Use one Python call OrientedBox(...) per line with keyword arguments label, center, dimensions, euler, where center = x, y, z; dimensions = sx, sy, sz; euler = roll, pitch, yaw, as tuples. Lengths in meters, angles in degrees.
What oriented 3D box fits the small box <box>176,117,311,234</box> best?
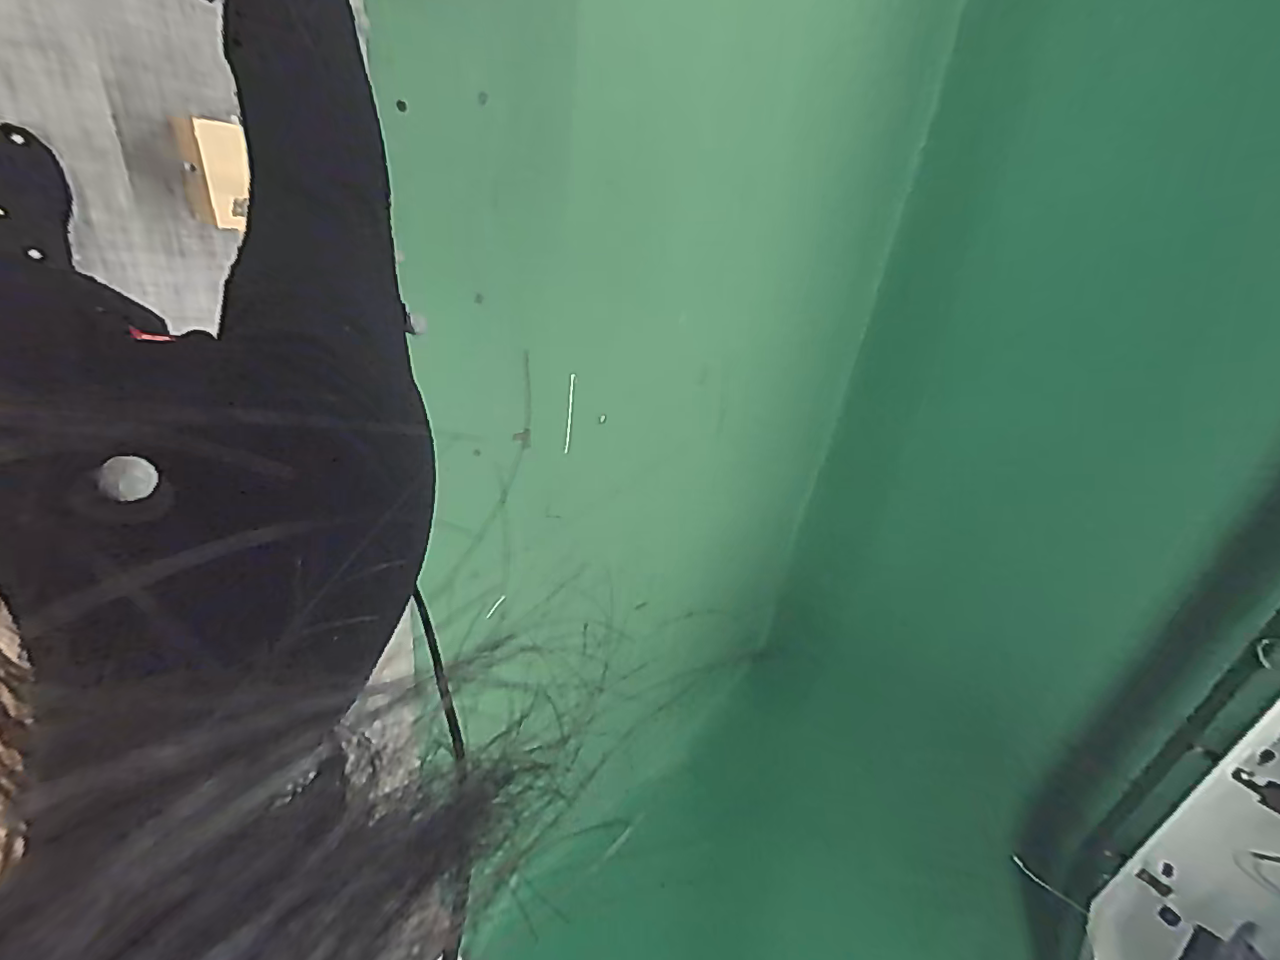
OrientedBox(label="small box", center=(-0.769, -0.589, 1.053), dimensions=(0.168, 0.176, 0.179), euler=(-20, 127, -42))
